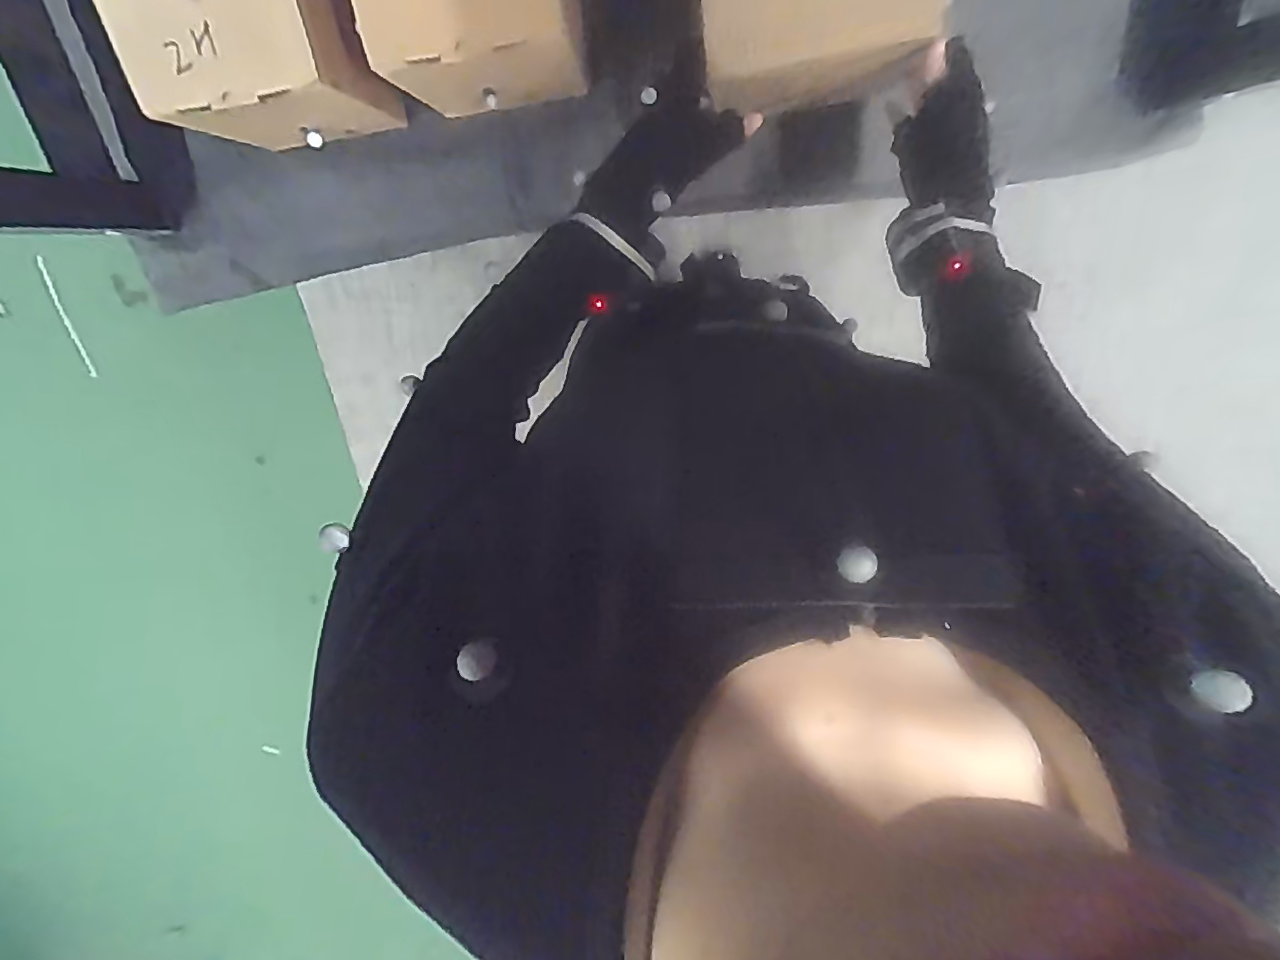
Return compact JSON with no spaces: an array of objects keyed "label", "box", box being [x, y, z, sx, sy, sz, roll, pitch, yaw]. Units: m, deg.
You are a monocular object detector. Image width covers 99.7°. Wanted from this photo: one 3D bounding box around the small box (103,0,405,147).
[{"label":"small box","box":[-0.348,-0.432,0.499,0.168,0.176,0.179,-6,113,5]}]
